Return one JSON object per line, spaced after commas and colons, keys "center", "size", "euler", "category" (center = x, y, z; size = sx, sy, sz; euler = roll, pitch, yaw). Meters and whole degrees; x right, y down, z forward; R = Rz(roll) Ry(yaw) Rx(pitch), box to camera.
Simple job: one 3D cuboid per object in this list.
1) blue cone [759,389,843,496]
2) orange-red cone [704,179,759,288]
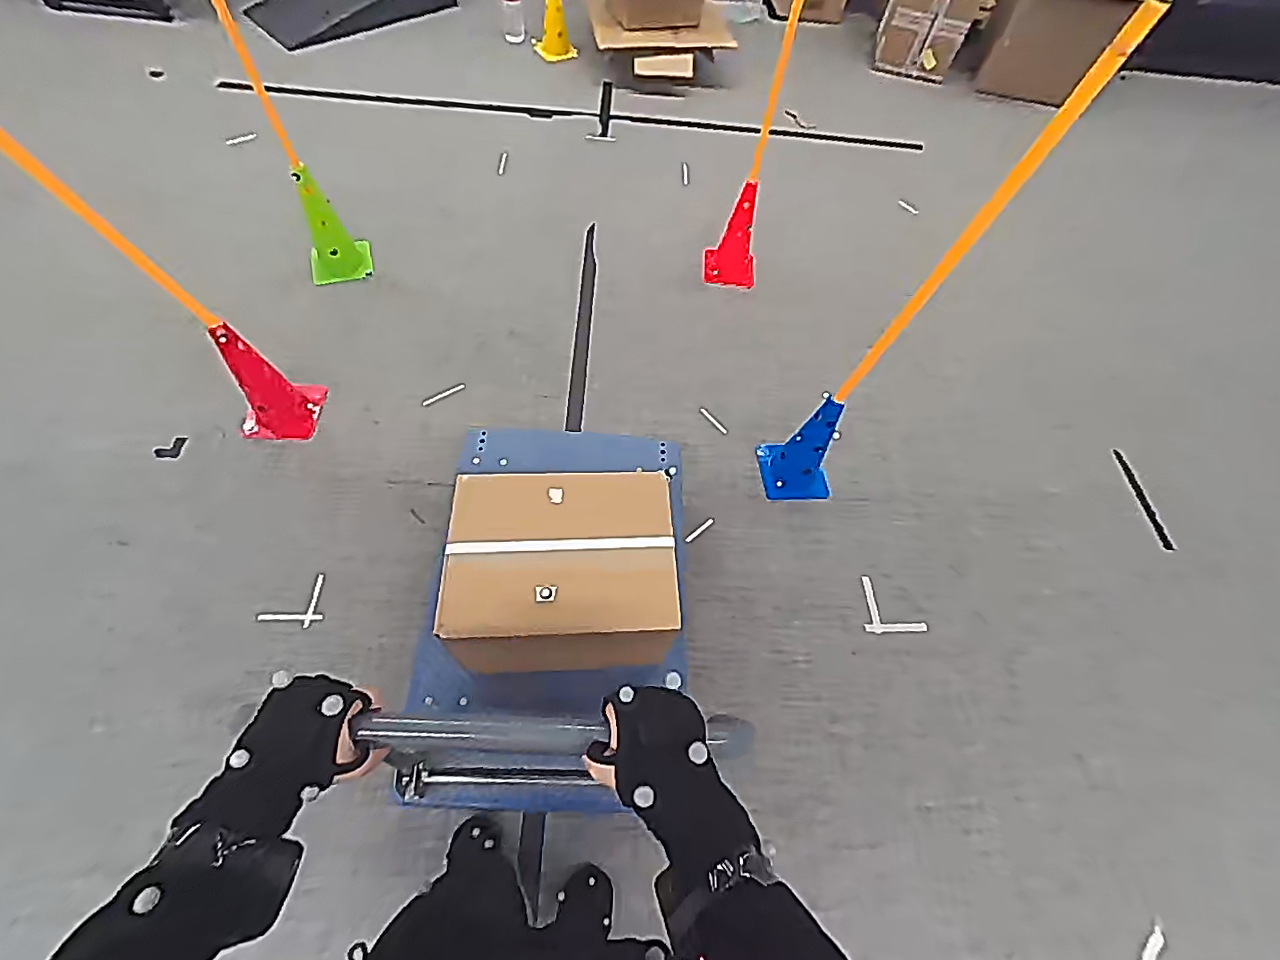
{"center": [0.488, -0.116, 1.533], "size": [0.193, 0.380, 0.192], "euler": [-1, 59, -6], "category": "blue cone"}
{"center": [0.369, -0.912, 1.960], "size": [0.199, 0.360, 0.198], "euler": [9, 61, -2], "category": "orange-red cone"}
